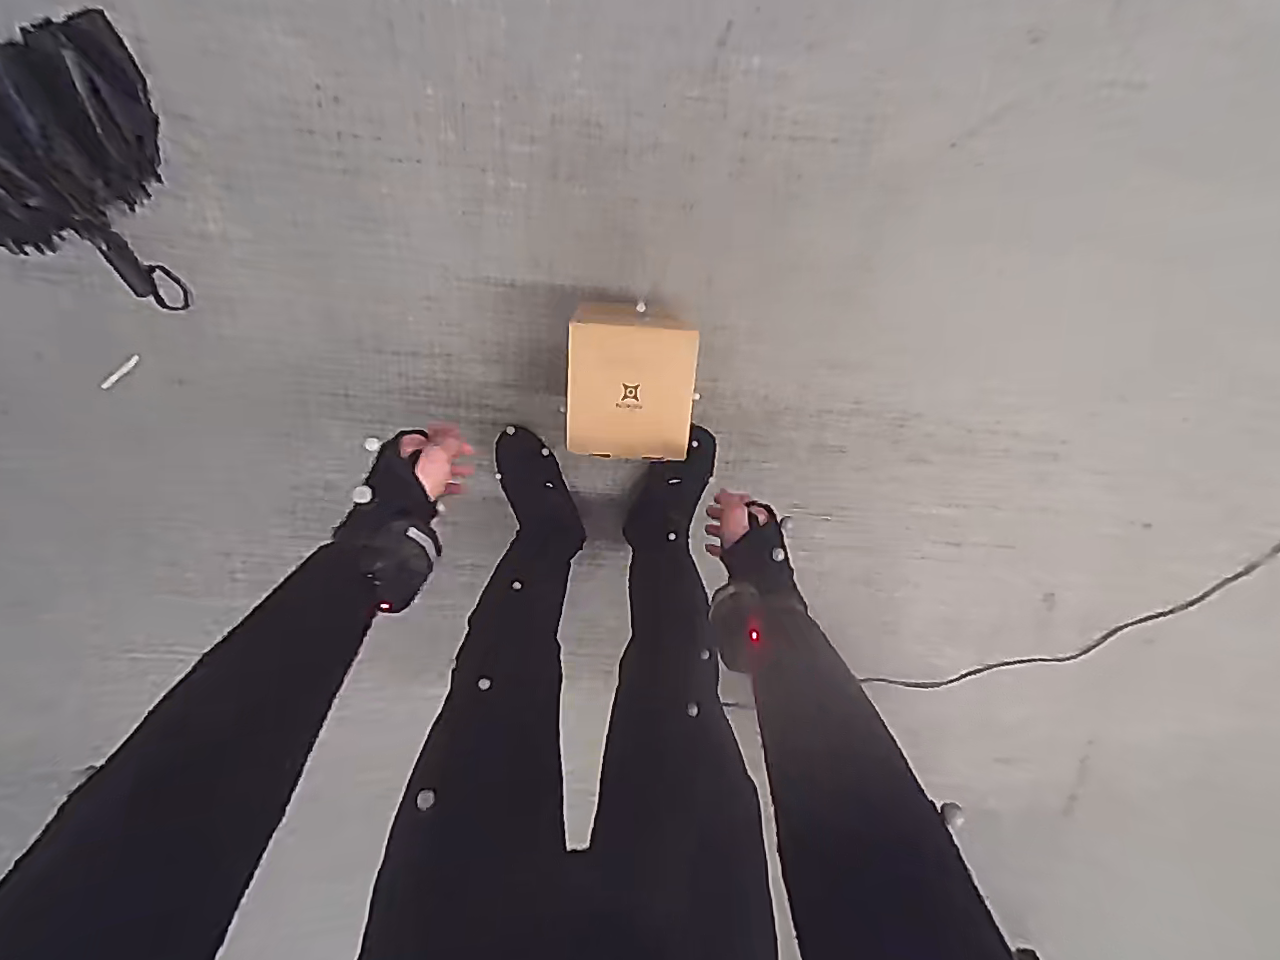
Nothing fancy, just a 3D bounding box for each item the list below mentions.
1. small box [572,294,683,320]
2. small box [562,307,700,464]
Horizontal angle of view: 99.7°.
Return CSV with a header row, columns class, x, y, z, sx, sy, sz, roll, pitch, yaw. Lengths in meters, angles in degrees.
class,x,y,z,sx,sy,sz,roll,pitch,yaw
small box,-0.023,-0.203,0.891,0.168,0.176,0.179,2,114,-3
small box,-0.017,-0.135,0.743,0.168,0.176,0.179,2,112,-4
